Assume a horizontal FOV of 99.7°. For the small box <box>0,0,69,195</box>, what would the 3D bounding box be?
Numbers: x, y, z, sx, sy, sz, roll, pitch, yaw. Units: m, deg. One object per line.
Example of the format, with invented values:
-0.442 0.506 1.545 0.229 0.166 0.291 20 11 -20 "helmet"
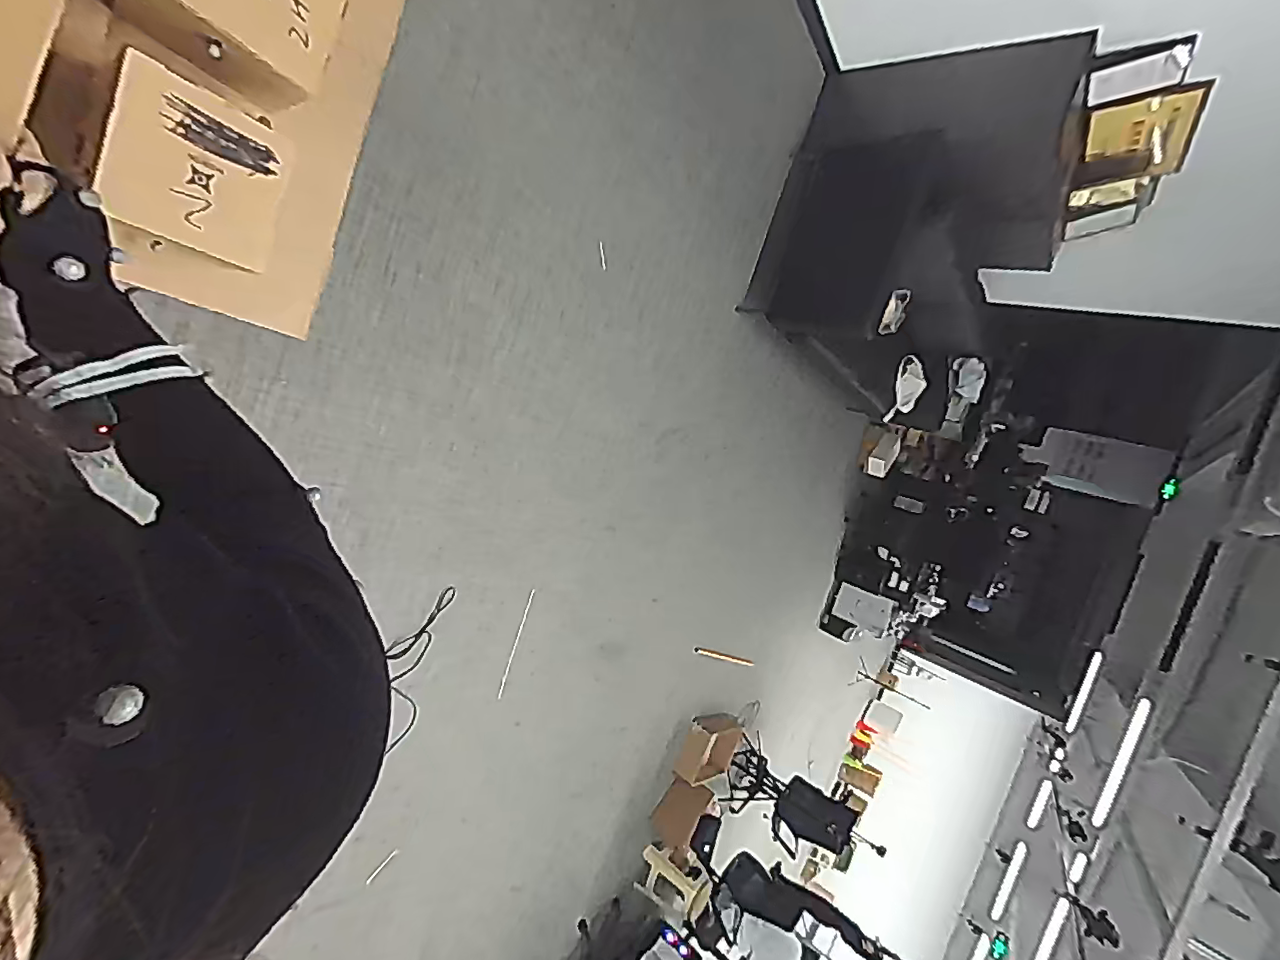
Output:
-0.570 -0.312 0.386 0.179 0.176 0.168 20 71 -54 "small box"
